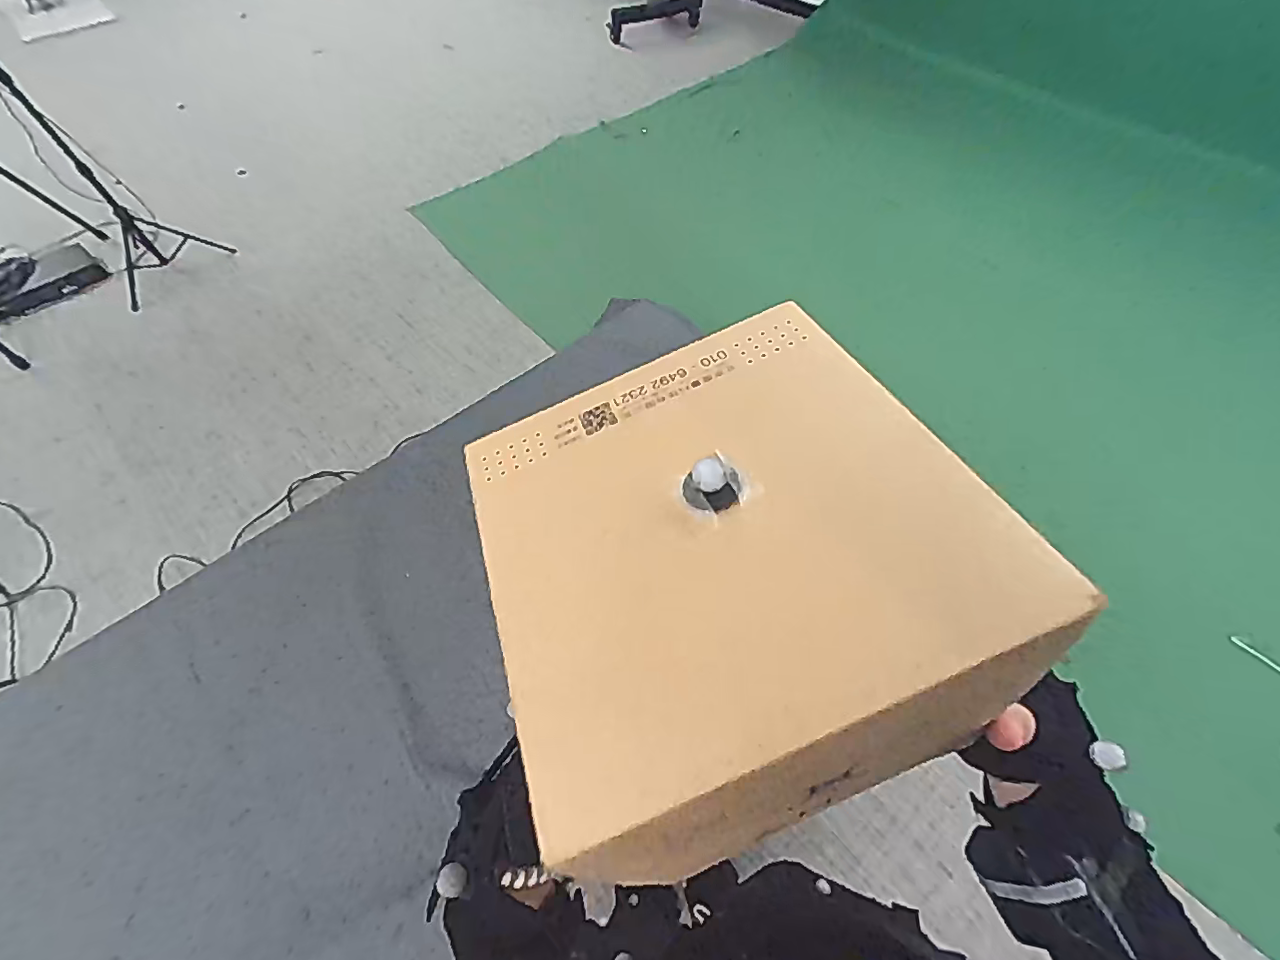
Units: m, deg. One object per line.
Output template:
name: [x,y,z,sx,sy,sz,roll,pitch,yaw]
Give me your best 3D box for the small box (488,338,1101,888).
small box: [0.045,0.056,0.258,0.168,0.179,0.176,-23,49,-2]
